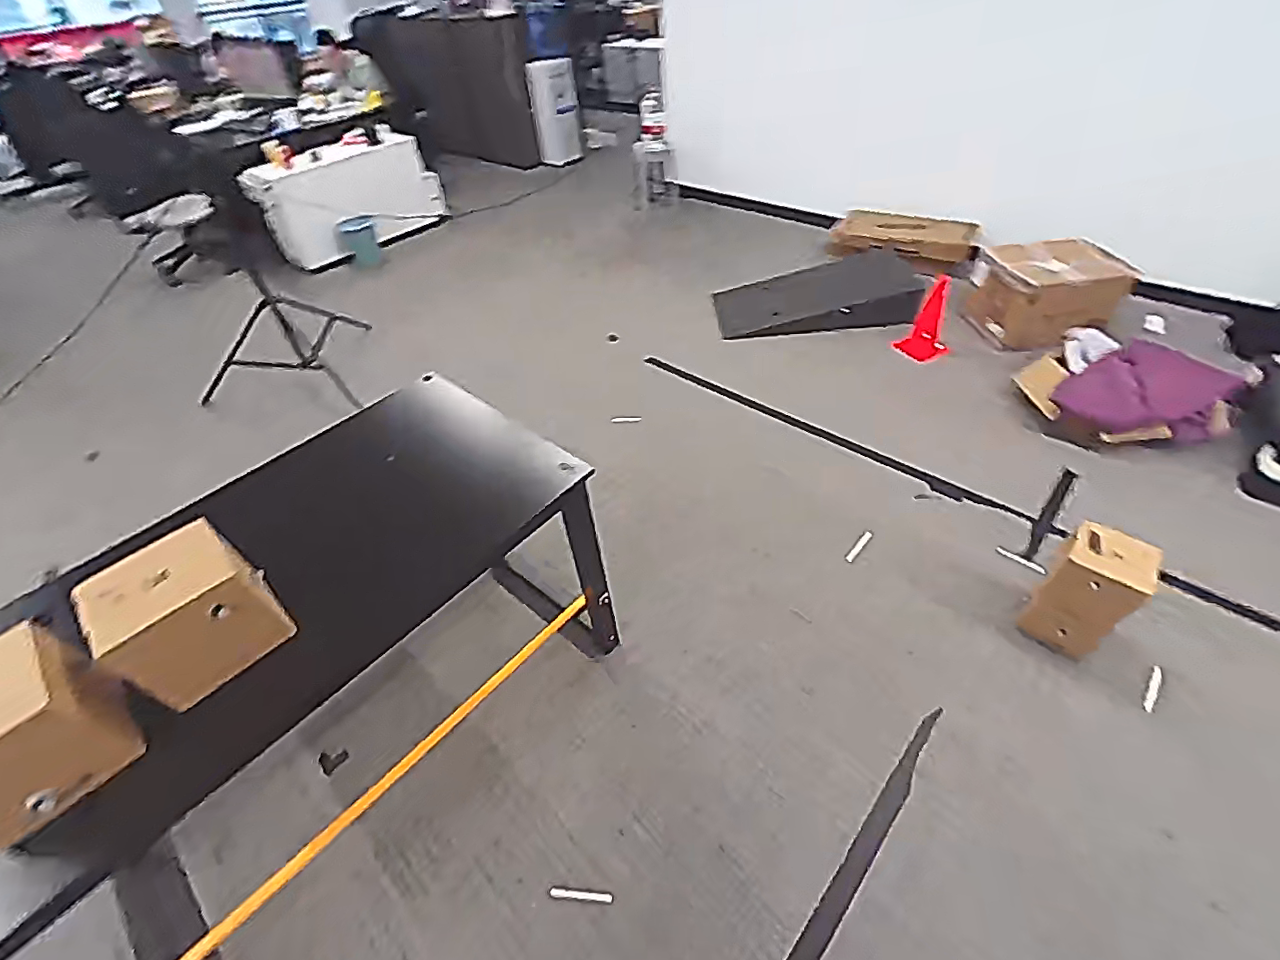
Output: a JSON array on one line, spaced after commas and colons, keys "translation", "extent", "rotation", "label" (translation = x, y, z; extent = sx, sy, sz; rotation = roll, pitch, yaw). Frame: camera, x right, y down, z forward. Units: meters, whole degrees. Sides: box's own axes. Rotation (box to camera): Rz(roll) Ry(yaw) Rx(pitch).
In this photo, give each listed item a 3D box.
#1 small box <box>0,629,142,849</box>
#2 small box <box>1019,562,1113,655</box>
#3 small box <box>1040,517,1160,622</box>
[{"translation": [-0.815, 0.338, 0.703], "extent": [0.179, 0.176, 0.168], "rotation": [30, 56, 30], "label": "small box"}, {"translation": [1.197, 0.352, 1.512], "extent": [0.168, 0.176, 0.179], "rotation": [28, 55, 29], "label": "small box"}, {"translation": [1.178, 0.235, 1.396], "extent": [0.179, 0.176, 0.168], "rotation": [28, 54, 28], "label": "small box"}]
